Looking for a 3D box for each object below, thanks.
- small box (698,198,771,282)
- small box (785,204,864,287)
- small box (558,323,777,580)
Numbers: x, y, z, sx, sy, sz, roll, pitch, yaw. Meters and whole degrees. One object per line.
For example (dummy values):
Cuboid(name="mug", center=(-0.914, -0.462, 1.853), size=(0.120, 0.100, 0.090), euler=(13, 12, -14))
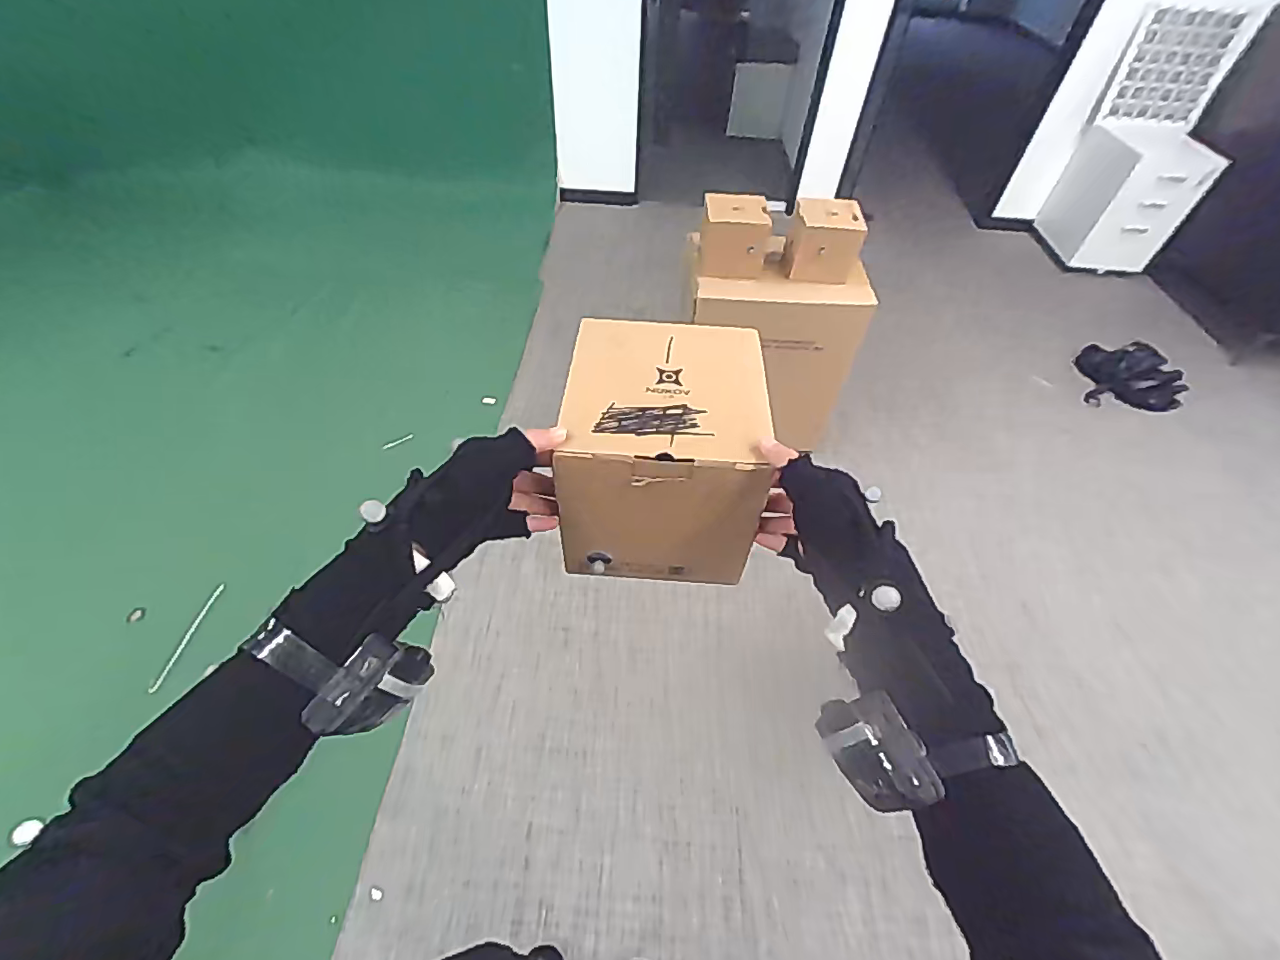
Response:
Cuboid(name="small box", center=(0.273, -0.704, 1.596), size=(0.179, 0.176, 0.168), euler=(1, 52, -1))
Cuboid(name="small box", center=(0.535, -0.693, 1.602), size=(0.179, 0.176, 0.168), euler=(4, 54, 0))
Cuboid(name="small box", center=(0.023, -0.024, 0.510), size=(0.168, 0.176, 0.179), euler=(5, 47, 0))
